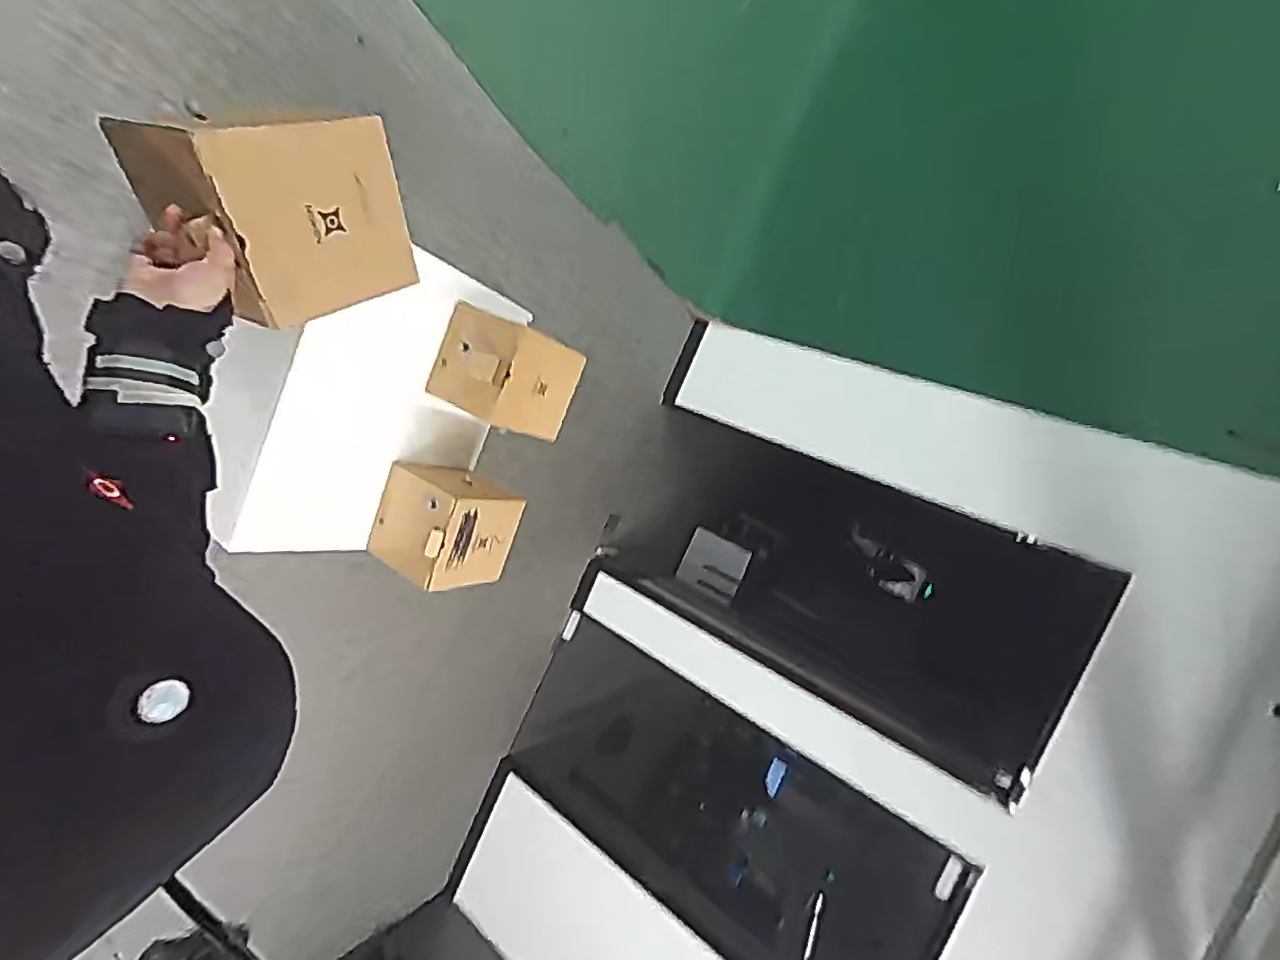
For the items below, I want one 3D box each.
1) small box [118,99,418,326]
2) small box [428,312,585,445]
[{"bbox_3d":[-0.370,-0.279,0.551,0.179,0.176,0.168,-46,149,-41],"label":"small box"},{"bbox_3d":[-0.234,-0.179,0.959,0.179,0.176,0.168,12,103,-61],"label":"small box"}]
